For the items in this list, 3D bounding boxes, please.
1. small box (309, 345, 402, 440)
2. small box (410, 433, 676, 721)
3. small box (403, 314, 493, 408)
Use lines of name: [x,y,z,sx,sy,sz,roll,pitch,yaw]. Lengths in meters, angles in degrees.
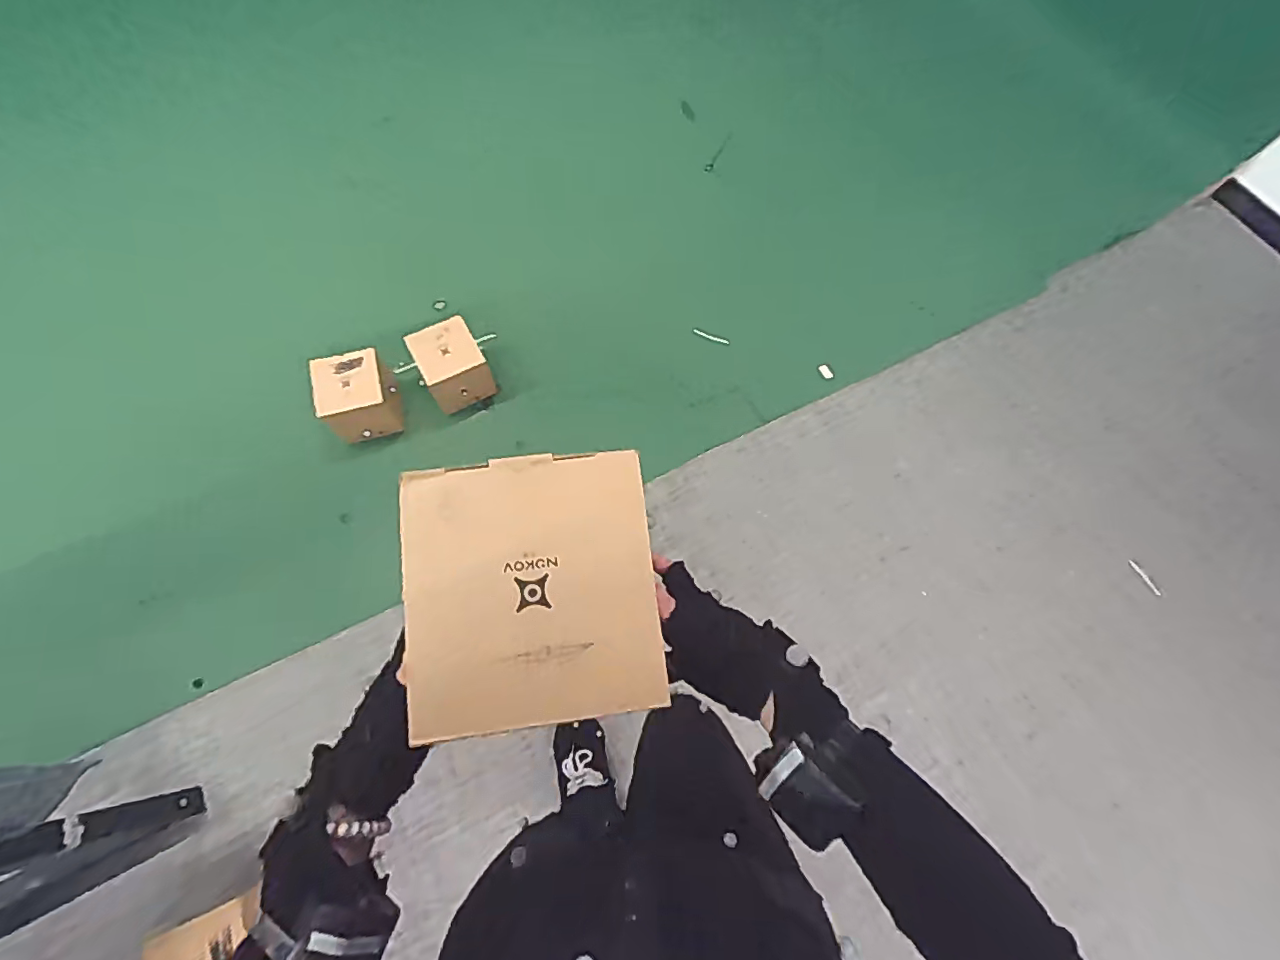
small box: [-0.768,-0.233,1.468,0.168,0.176,0.179,-15,71,-9]
small box: [-0.073,0.074,0.429,0.168,0.176,0.179,-5,78,-6]
small box: [-0.532,-0.325,1.520,0.168,0.176,0.179,-26,72,-15]
